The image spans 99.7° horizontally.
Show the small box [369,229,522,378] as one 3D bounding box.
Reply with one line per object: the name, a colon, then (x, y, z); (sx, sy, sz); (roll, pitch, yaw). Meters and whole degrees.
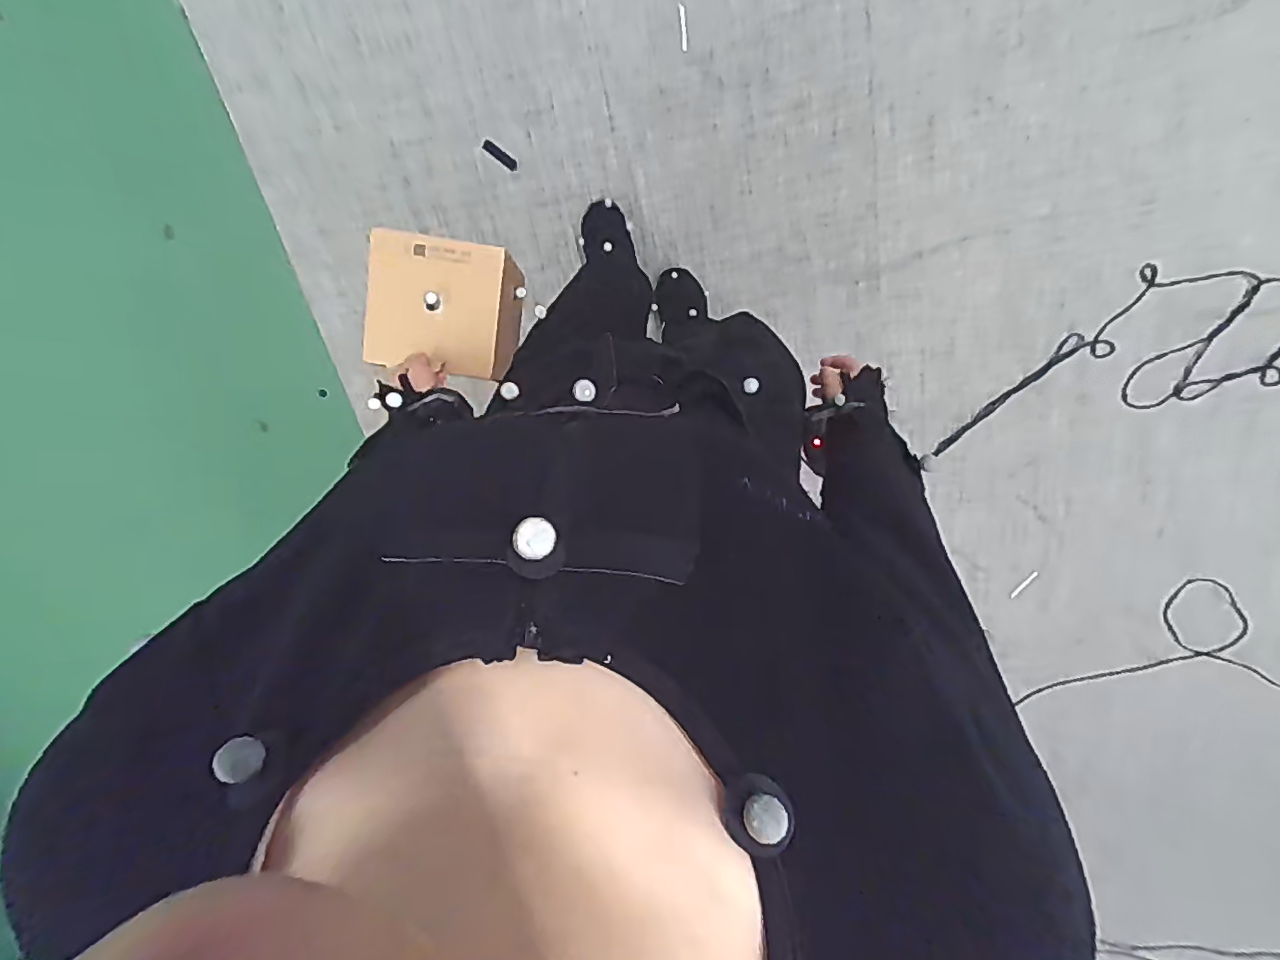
small box: (-0.264, -0.239, 0.762); (0.168, 0.179, 0.176); (7, 100, -6)
